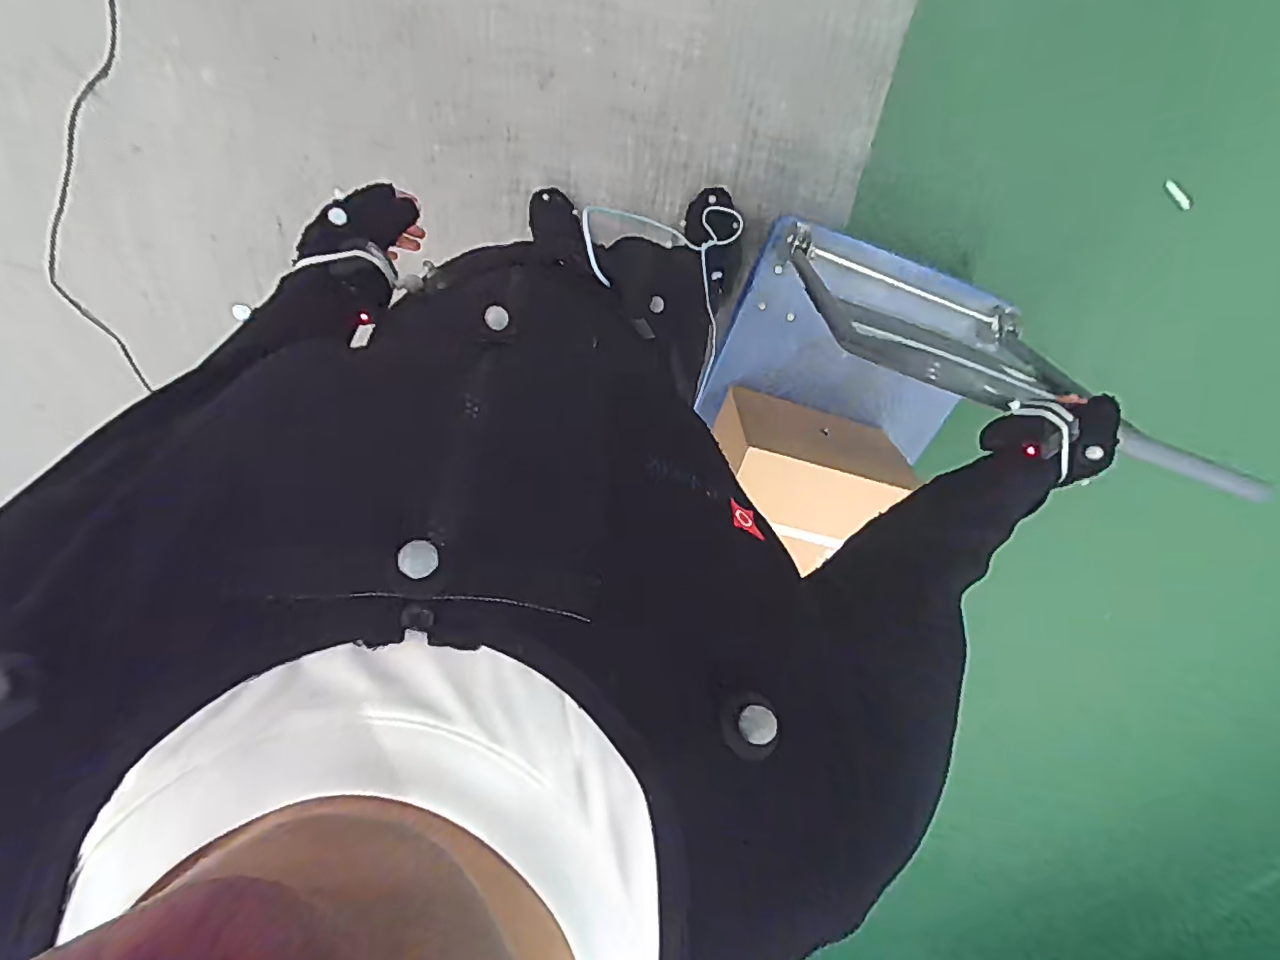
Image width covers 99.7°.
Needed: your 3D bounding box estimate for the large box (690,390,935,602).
[{"bbox_3d":[0.354,0.028,1.243,0.408,0.320,0.320,14,122,-8],"label":"large box"}]
